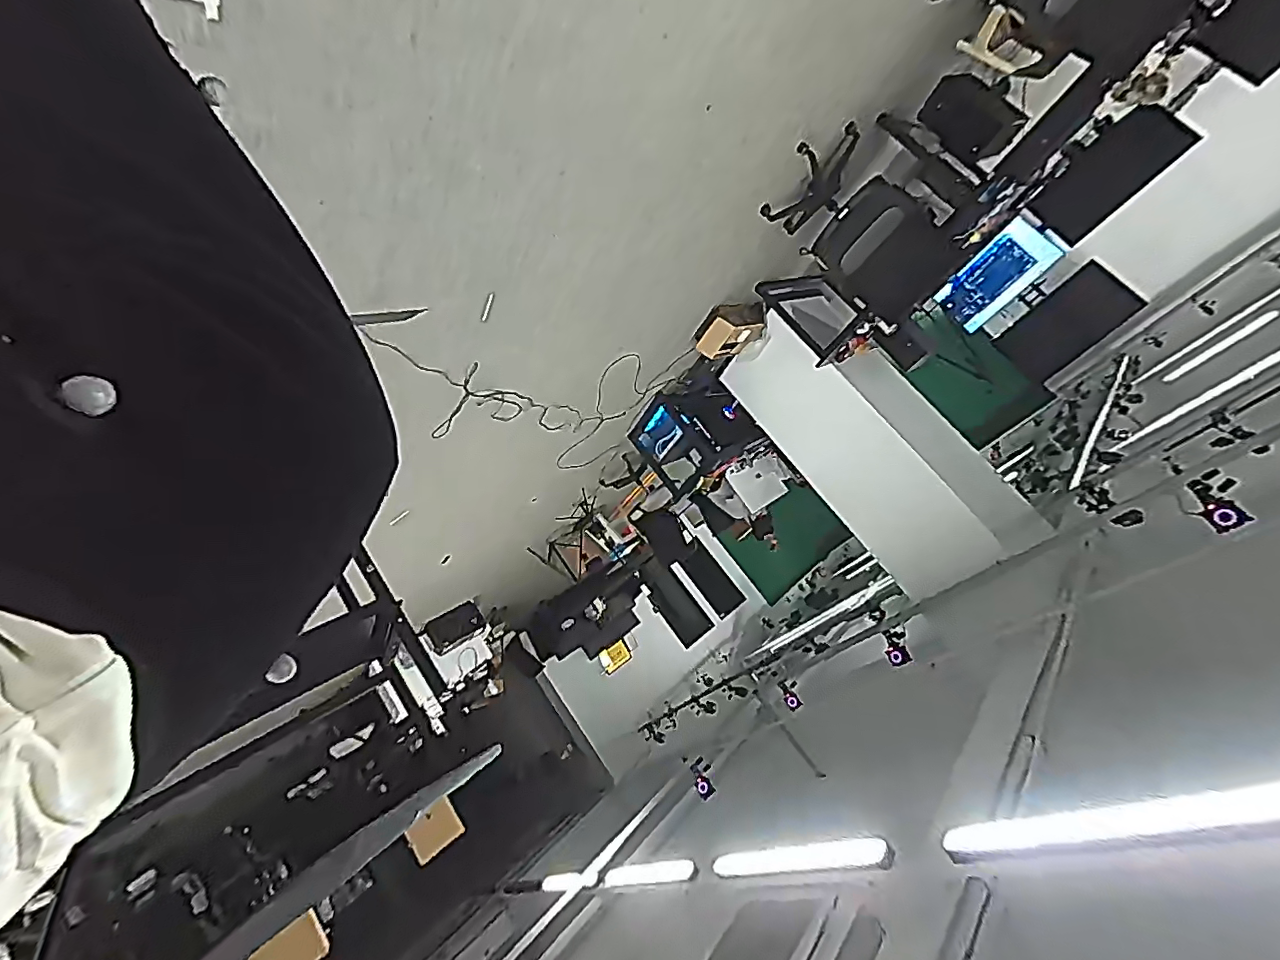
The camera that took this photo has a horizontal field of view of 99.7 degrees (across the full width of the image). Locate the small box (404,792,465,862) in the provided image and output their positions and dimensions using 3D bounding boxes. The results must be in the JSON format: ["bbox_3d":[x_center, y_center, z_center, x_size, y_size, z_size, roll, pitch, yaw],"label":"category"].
[{"bbox_3d":[-0.862,1.445,2.254,0.179,0.176,0.168,-25,161,-40],"label":"small box"}]

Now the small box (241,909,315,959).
[{"bbox_3d":[-1.254,1.632,1.873,0.168,0.176,0.179,-26,162,-42],"label":"small box"}]
